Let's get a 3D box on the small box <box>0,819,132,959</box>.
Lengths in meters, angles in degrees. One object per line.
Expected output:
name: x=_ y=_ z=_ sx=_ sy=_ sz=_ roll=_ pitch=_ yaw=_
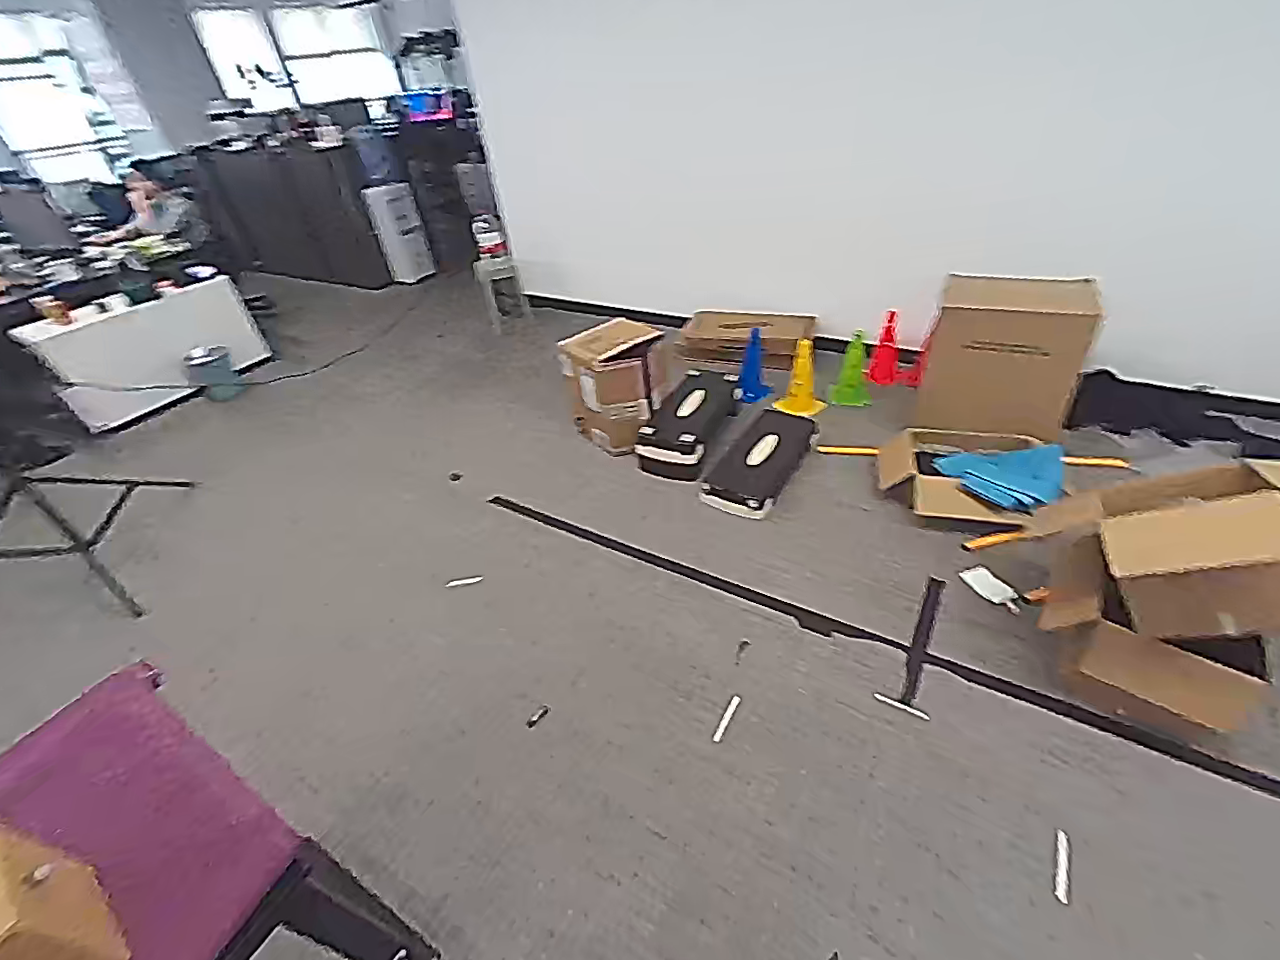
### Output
small box: x=-0.721 y=0.526 z=0.588 sx=0.179 sy=0.176 sz=0.168 roll=19 pitch=46 yaw=31
